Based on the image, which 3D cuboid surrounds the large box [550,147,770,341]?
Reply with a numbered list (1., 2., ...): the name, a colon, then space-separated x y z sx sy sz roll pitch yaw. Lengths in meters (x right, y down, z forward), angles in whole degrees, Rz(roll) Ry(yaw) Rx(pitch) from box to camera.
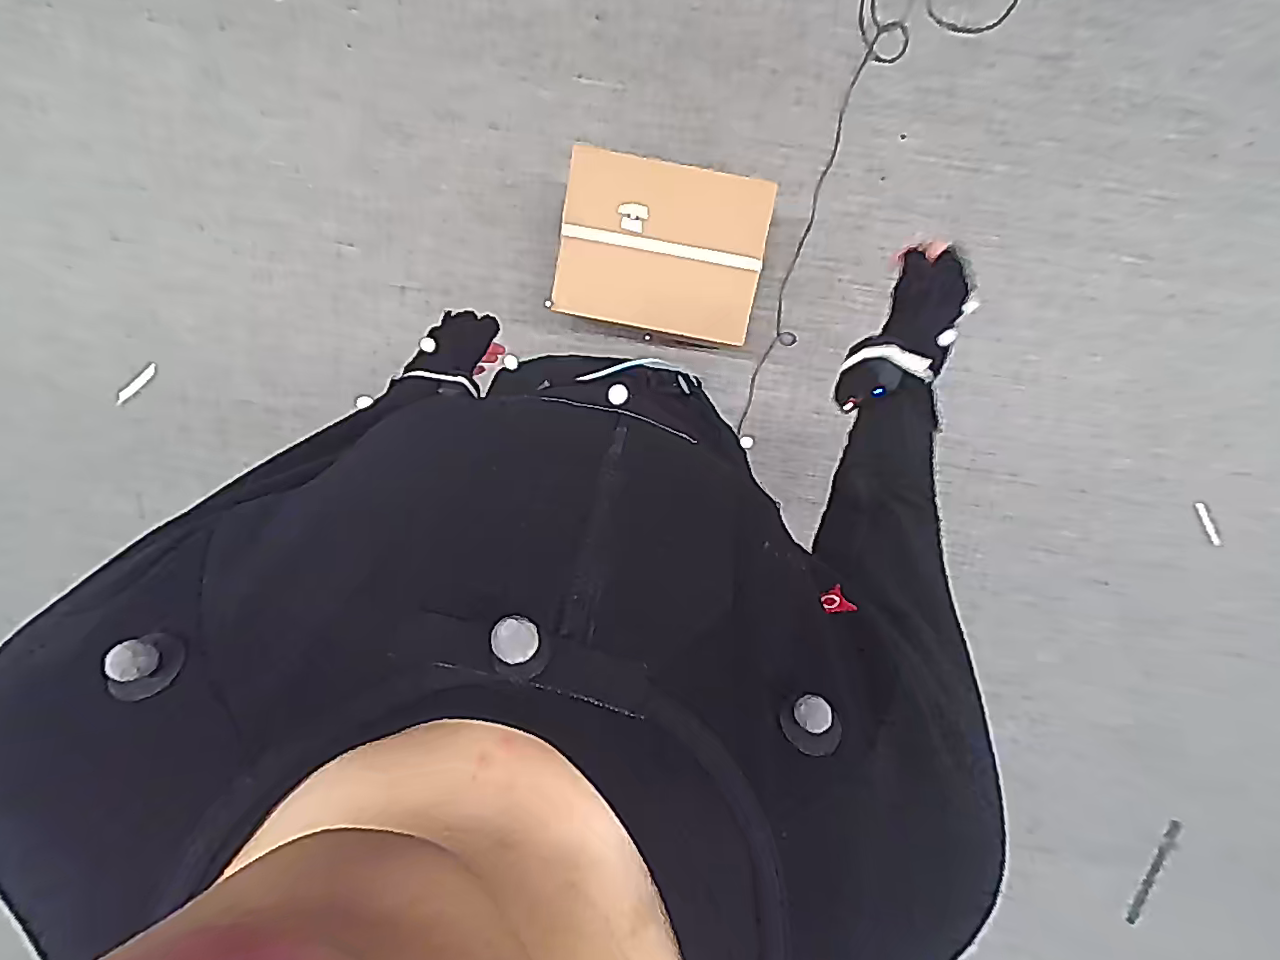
1. large box: 0.042 -0.501 1.225 0.408 0.320 0.320 11 102 0
